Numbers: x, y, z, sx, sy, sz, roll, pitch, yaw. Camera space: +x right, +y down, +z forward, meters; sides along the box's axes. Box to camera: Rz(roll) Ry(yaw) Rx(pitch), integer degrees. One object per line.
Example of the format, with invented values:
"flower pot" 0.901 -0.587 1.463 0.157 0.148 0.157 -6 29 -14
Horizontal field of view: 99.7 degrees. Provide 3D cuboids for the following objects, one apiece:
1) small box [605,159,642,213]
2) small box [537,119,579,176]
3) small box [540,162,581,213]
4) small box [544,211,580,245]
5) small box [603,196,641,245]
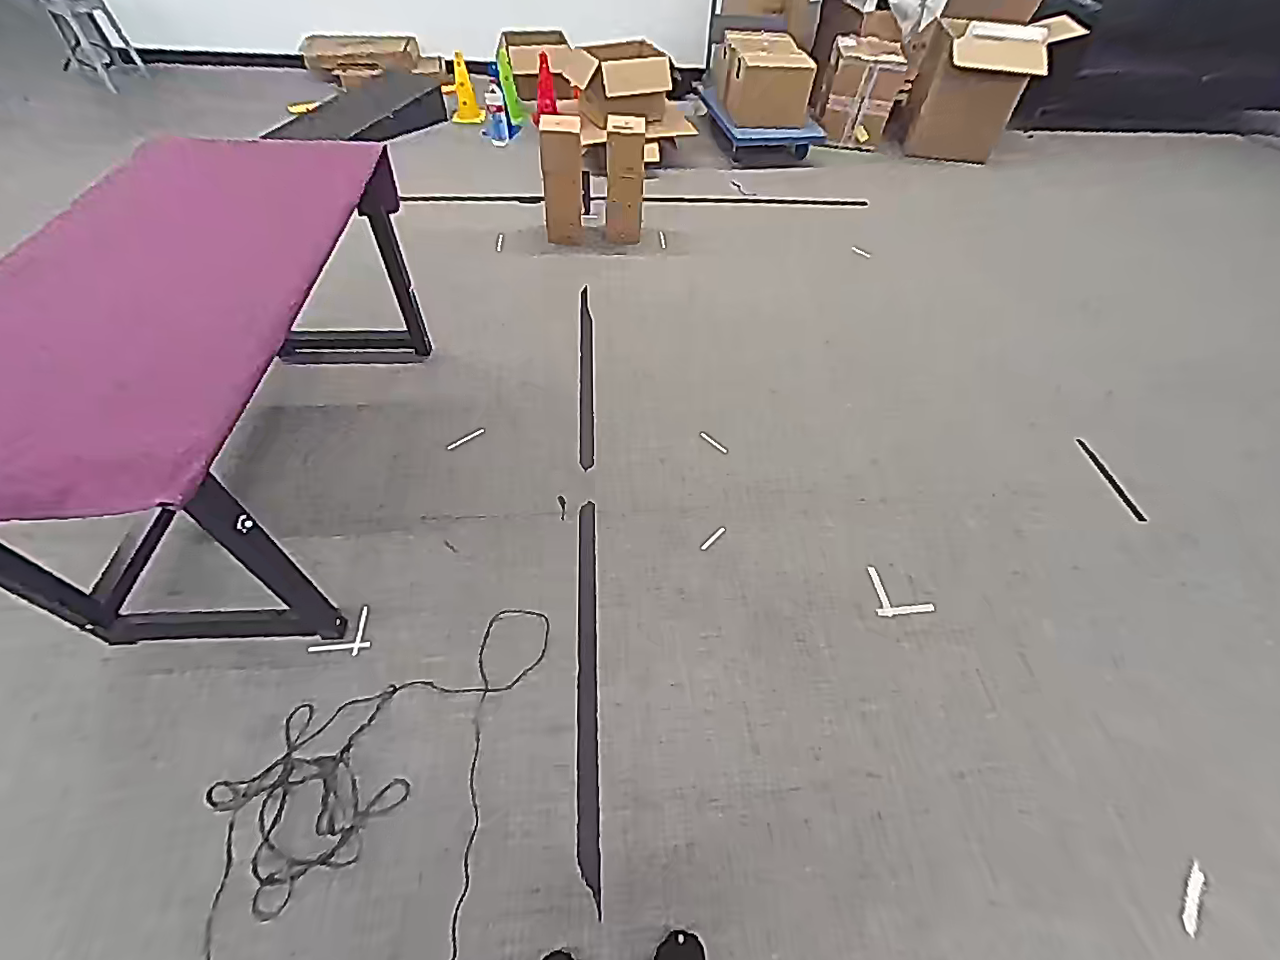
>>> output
"small box" -0.077 -1.377 2.536 0.168 0.176 0.179 1 52 -3
"small box" -0.356 -1.458 2.372 0.179 0.176 0.168 0 53 -7
"small box" -0.366 -1.357 2.502 0.179 0.176 0.168 -1 53 -6
"small box" -0.380 -1.265 2.636 0.168 0.176 0.179 -2 52 -7
"small box" -0.090 -1.282 2.670 0.179 0.176 0.168 3 53 -3
